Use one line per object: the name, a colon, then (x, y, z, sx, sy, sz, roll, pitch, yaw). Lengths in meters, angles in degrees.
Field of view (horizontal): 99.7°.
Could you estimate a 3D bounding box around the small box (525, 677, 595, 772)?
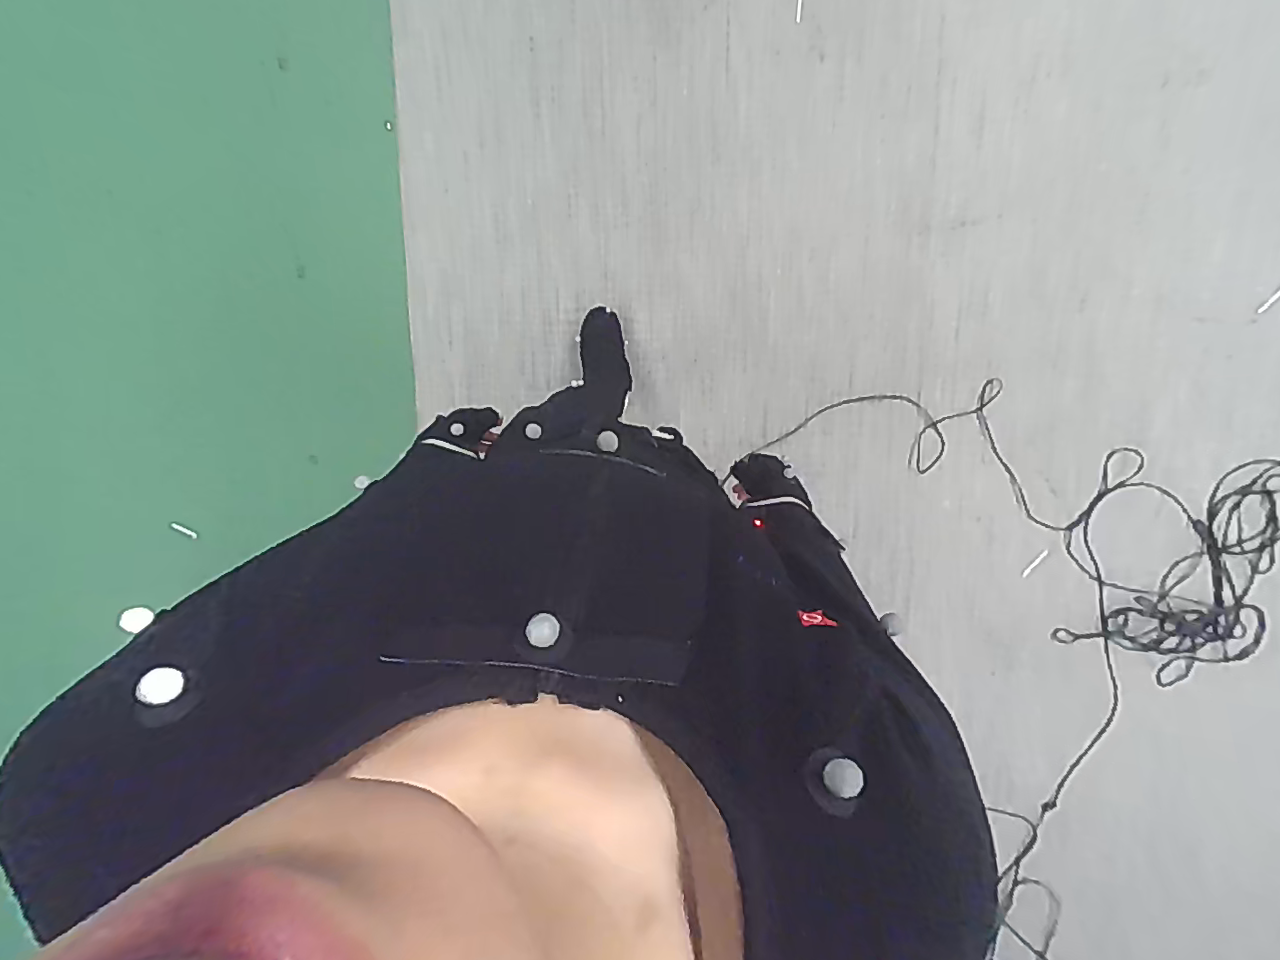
small box: (-0.214, 0.668, 1.485, 0.168, 0.176, 0.179, 1, 97, 2)
